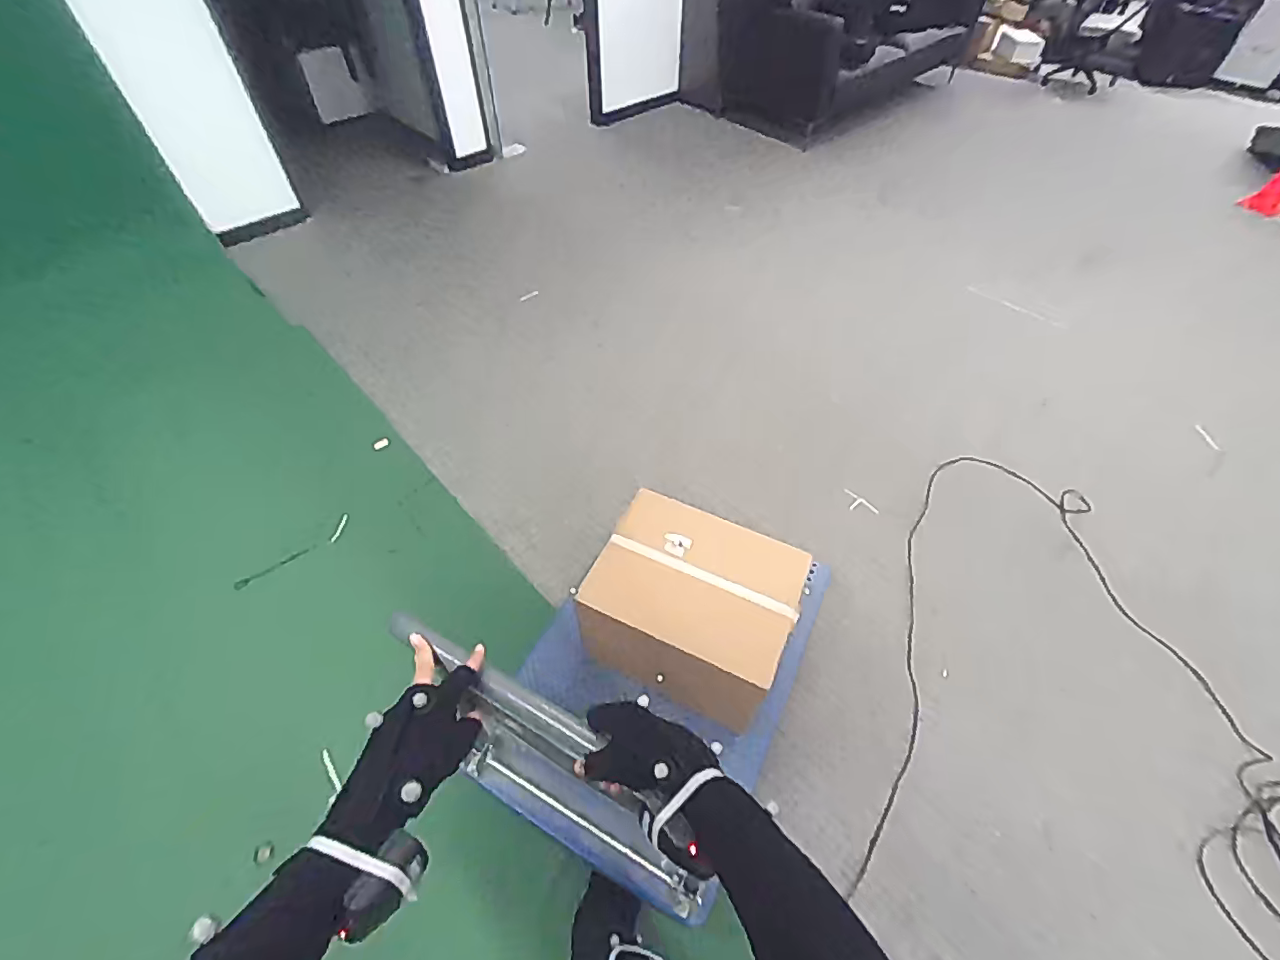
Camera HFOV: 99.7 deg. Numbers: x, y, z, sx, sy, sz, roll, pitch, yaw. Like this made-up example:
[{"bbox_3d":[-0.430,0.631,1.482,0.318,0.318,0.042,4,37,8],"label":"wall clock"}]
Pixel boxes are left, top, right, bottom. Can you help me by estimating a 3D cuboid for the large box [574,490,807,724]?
[{"bbox_3d":[0.113,0.286,1.218,0.408,0.320,0.320,21,53,16],"label":"large box"}]
